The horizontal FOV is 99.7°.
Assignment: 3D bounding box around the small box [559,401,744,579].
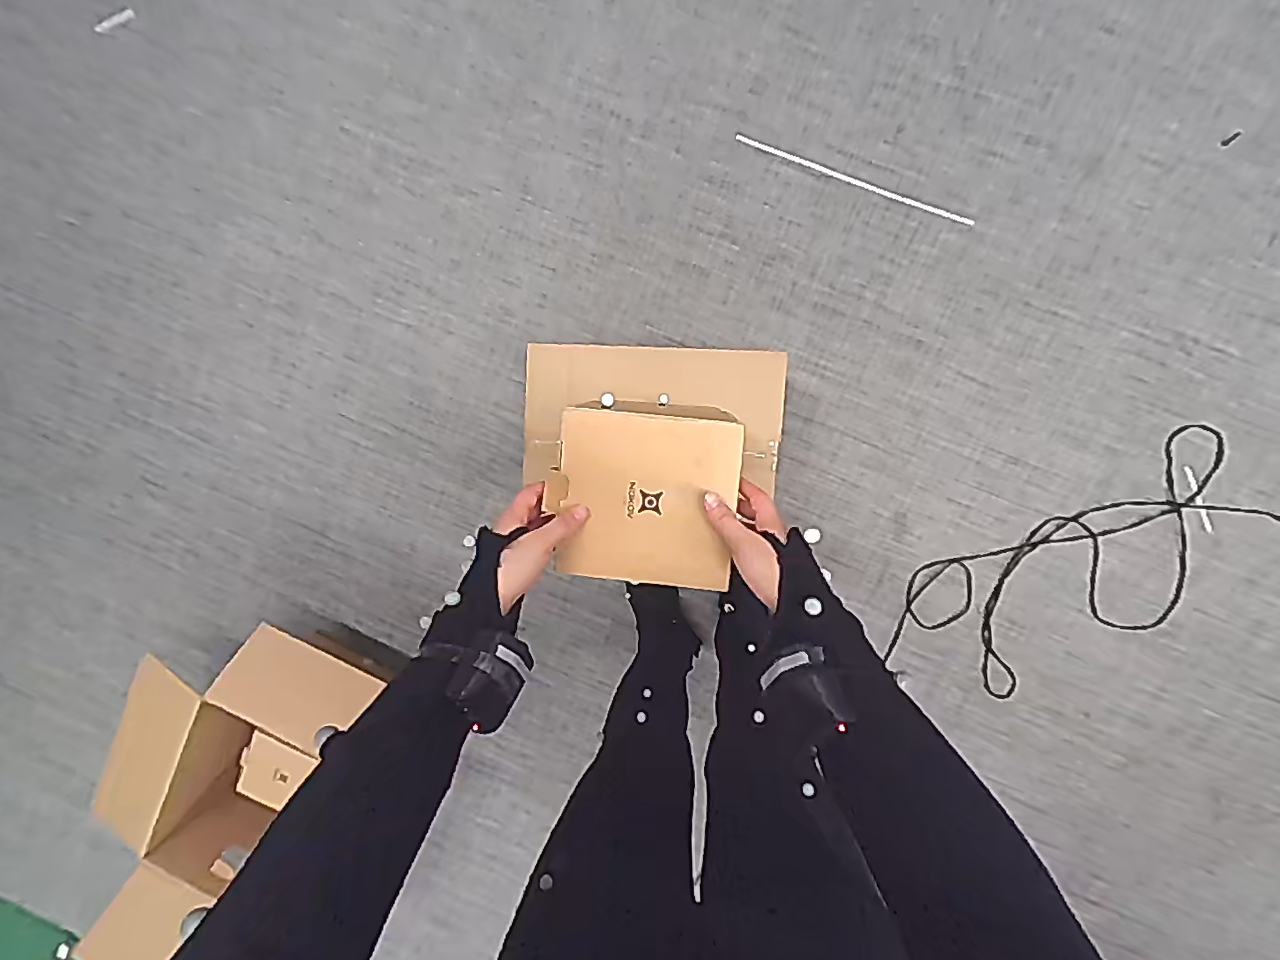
[{"bbox_3d":[0.016,0.000,0.609,0.179,0.176,0.168,4,100,7],"label":"small box"}]
